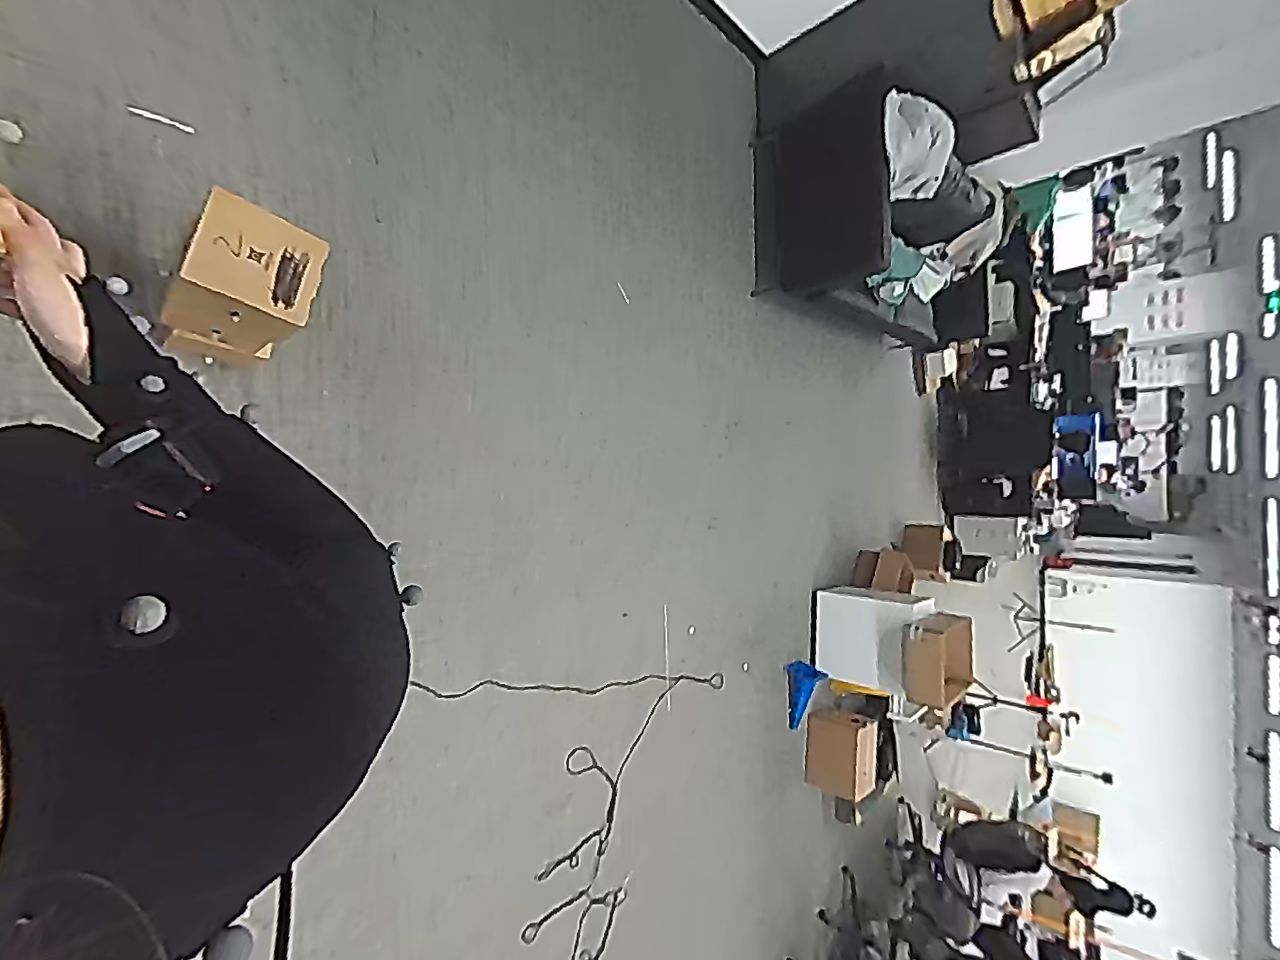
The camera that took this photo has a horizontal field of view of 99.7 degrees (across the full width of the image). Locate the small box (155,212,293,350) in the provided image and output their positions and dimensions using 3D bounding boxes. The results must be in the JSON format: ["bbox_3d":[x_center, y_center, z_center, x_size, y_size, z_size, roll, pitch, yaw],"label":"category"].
[{"bbox_3d":[-0.805,-0.369,1.044,0.168,0.176,0.179,19,76,-46],"label":"small box"}]

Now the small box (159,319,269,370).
[{"bbox_3d":[-0.912,-0.354,1.168,0.168,0.176,0.179,13,80,-46],"label":"small box"}]
